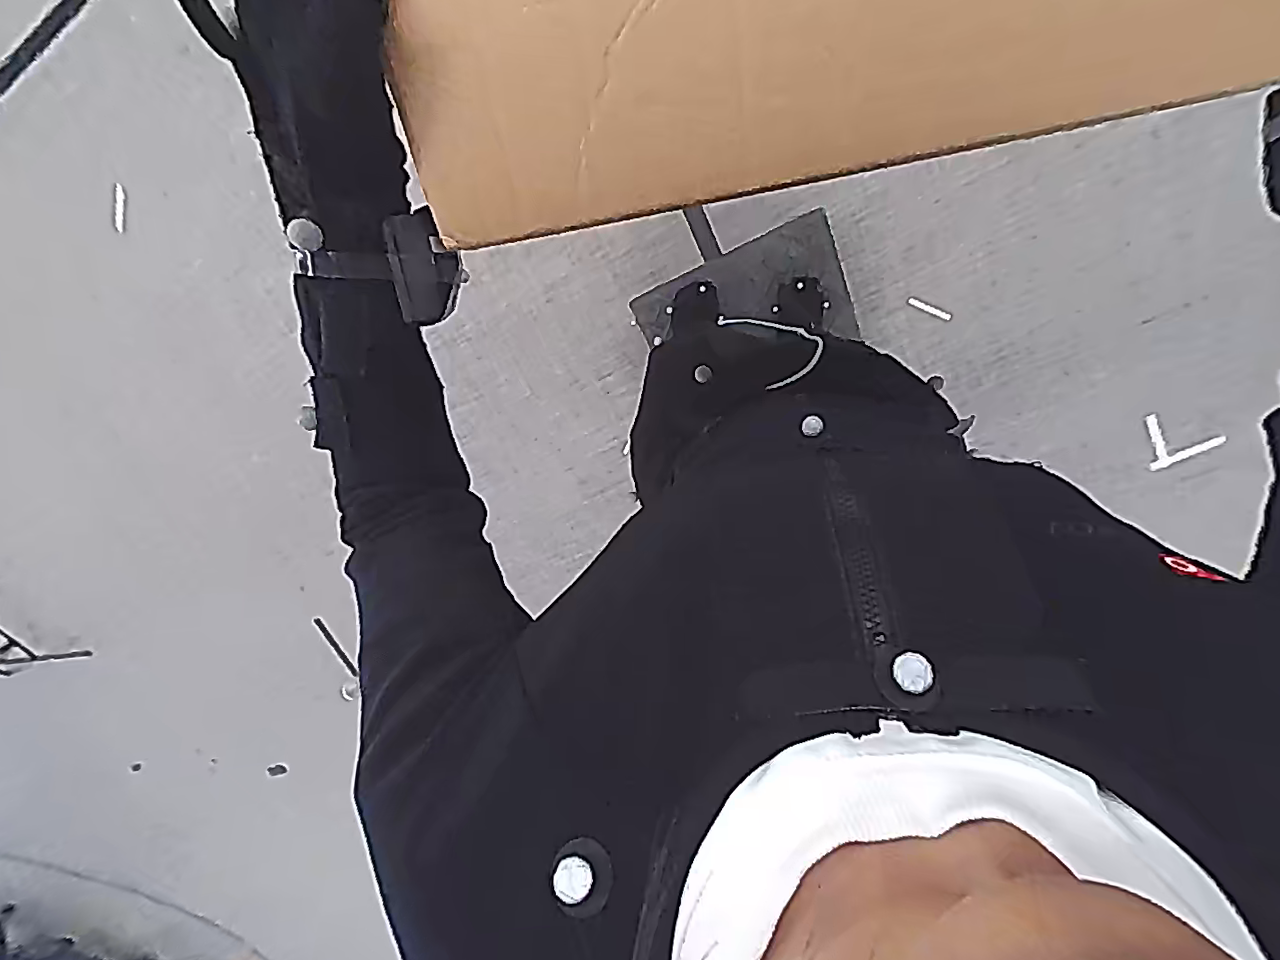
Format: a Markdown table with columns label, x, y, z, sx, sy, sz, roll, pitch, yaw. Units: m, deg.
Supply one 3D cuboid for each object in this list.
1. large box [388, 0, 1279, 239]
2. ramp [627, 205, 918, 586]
| label | x | y | z | sx | sy | sz | roll | pitch | yaw |
| --- | --- | --- | --- | --- | --- | --- | --- | --- | --- |
| large box | 0.078 | -0.362 | 0.335 | 0.408 | 0.320 | 0.320 | -7 | 117 | 10 |
| ramp | 0.402 | -0.141 | 1.475 | 0.509 | 0.206 | 0.991 | -24 | 105 | 14 |
